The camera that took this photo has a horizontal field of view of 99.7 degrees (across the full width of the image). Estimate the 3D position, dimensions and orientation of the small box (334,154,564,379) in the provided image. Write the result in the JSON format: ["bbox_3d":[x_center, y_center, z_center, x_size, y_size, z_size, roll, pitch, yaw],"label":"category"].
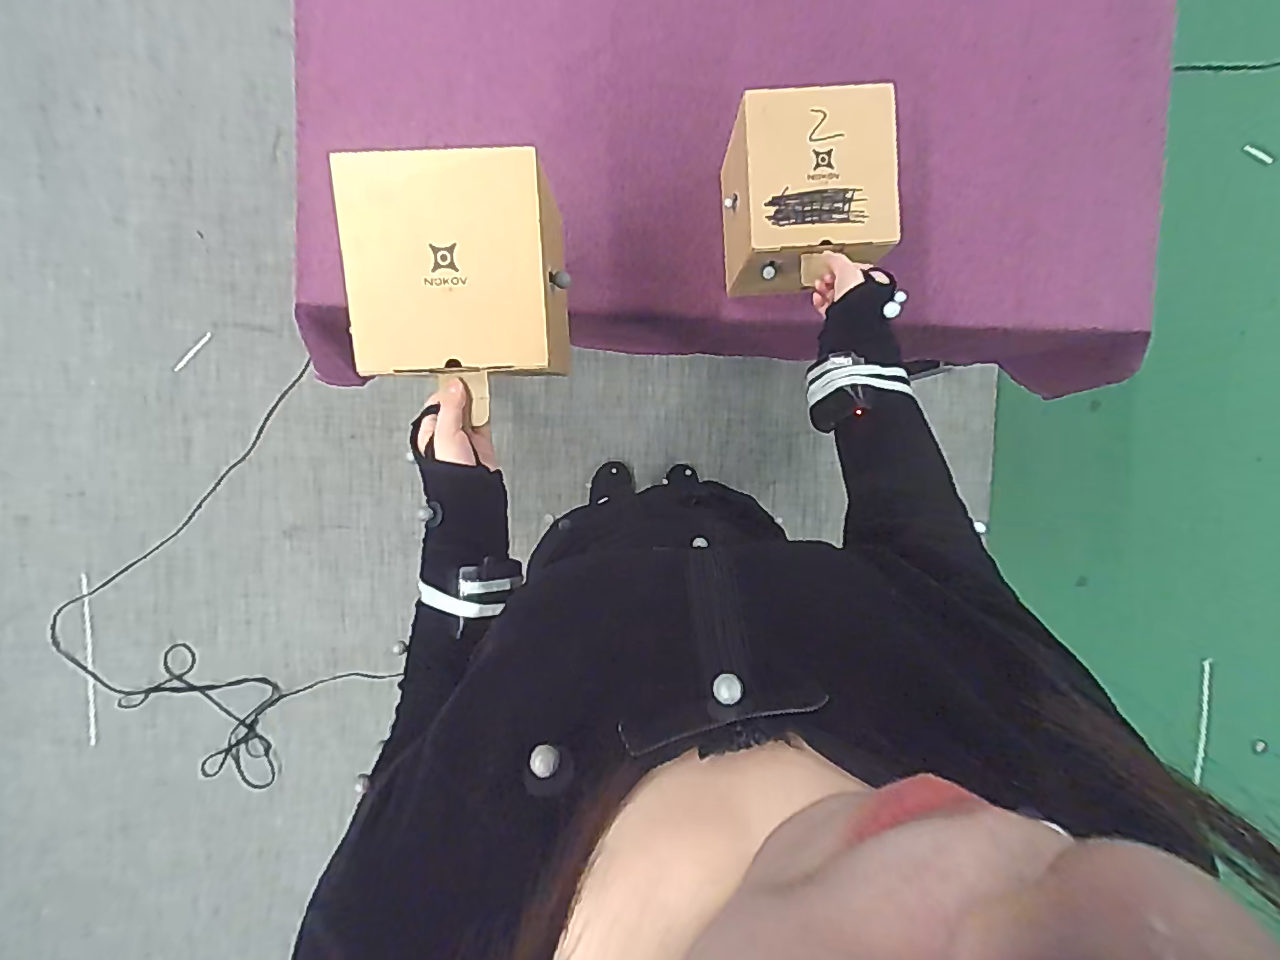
[{"bbox_3d":[-0.168,-0.192,0.532,0.168,0.176,0.179,-2,100,-1],"label":"small box"}]
